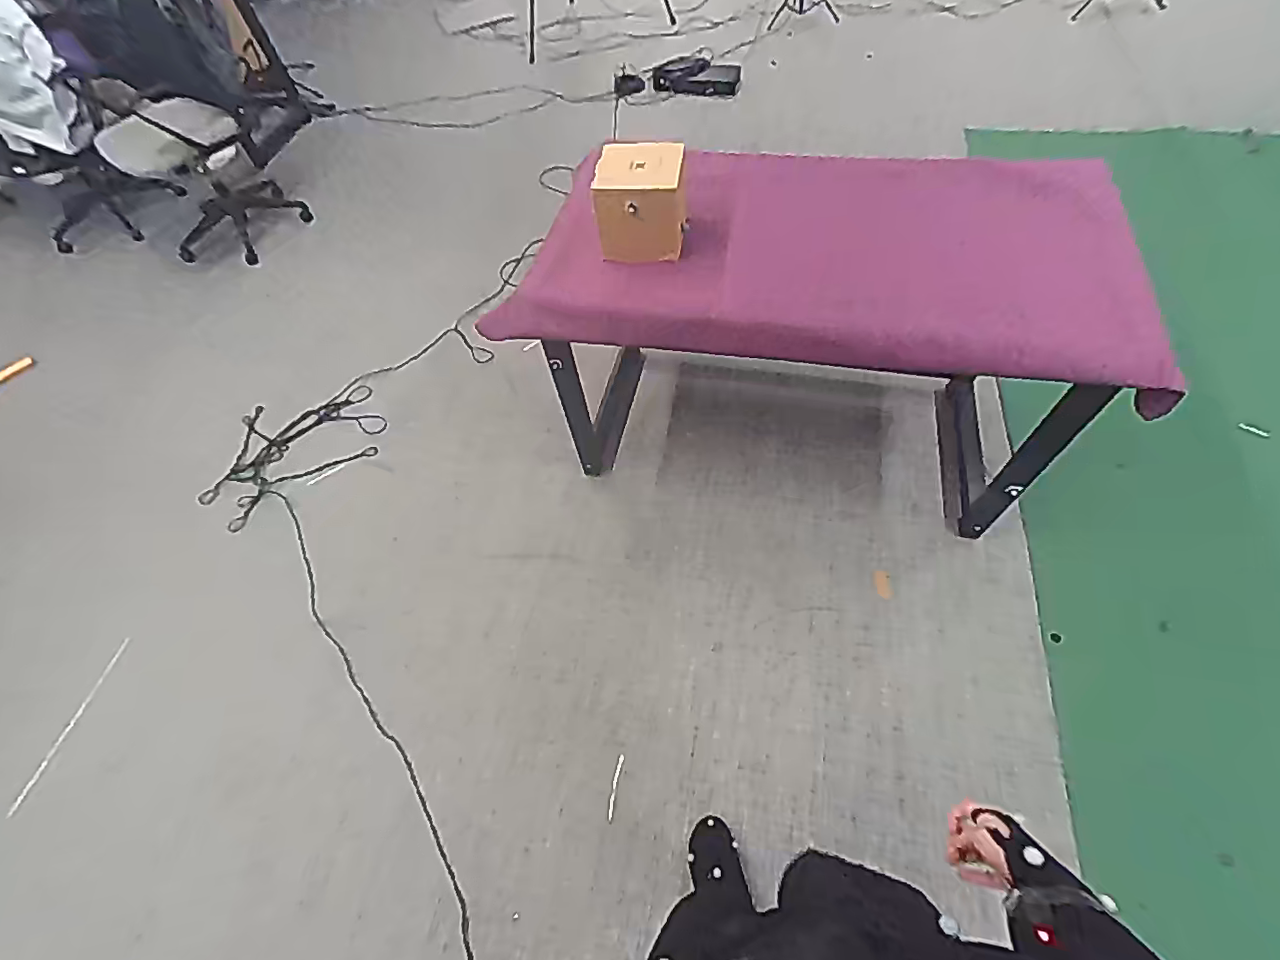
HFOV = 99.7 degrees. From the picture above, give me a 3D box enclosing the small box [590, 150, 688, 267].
[{"bbox_3d":[0.006,-0.579,1.162,0.179,0.176,0.168,5,59,9],"label":"small box"}]
